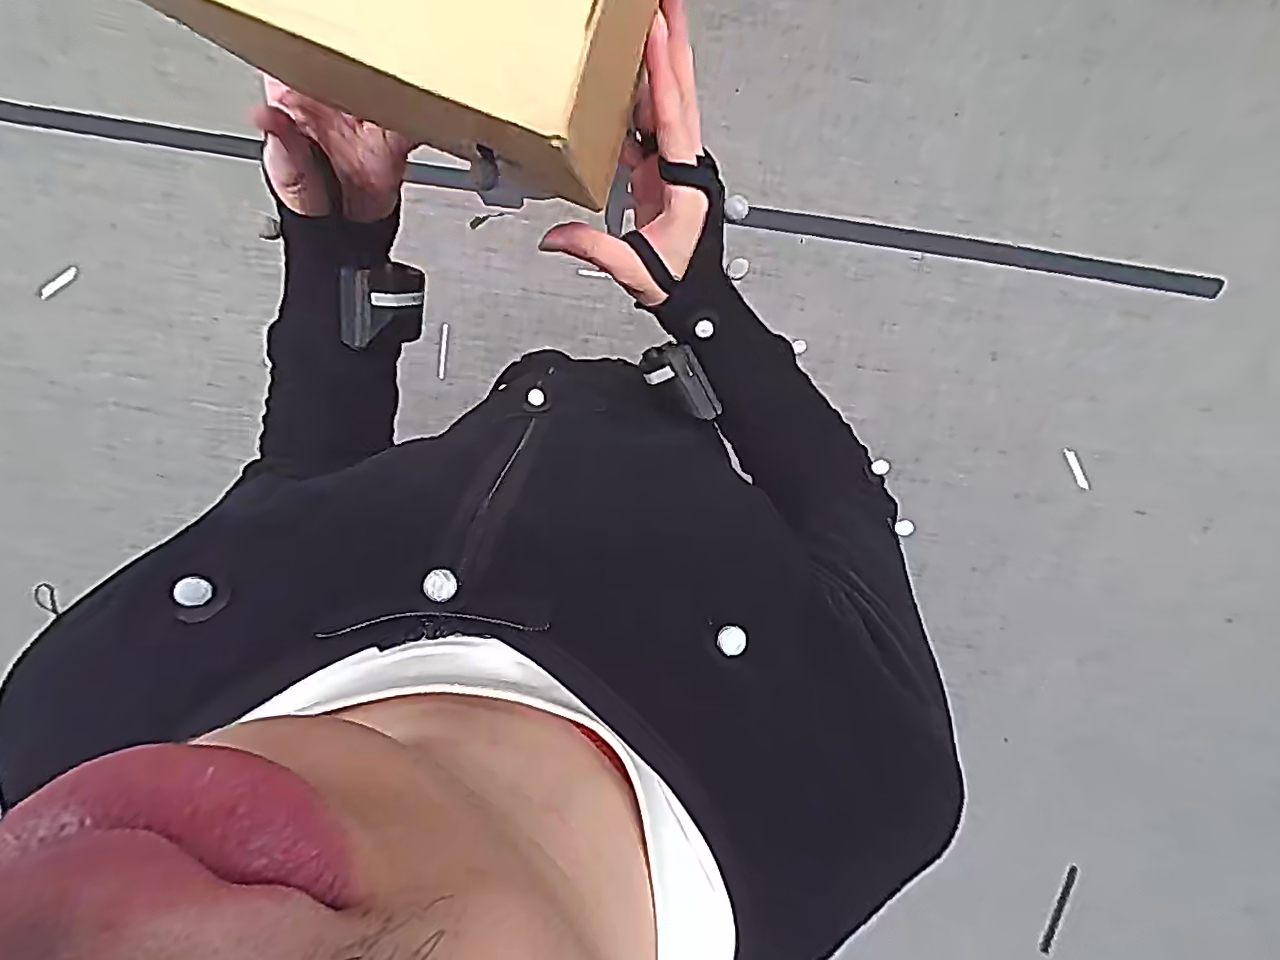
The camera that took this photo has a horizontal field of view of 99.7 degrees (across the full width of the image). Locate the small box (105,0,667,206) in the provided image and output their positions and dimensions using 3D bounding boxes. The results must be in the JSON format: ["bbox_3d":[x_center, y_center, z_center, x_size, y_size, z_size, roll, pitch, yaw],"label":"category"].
[{"bbox_3d":[-0.077,-0.230,0.222,0.179,0.176,0.168,18,108,-6],"label":"small box"}]
